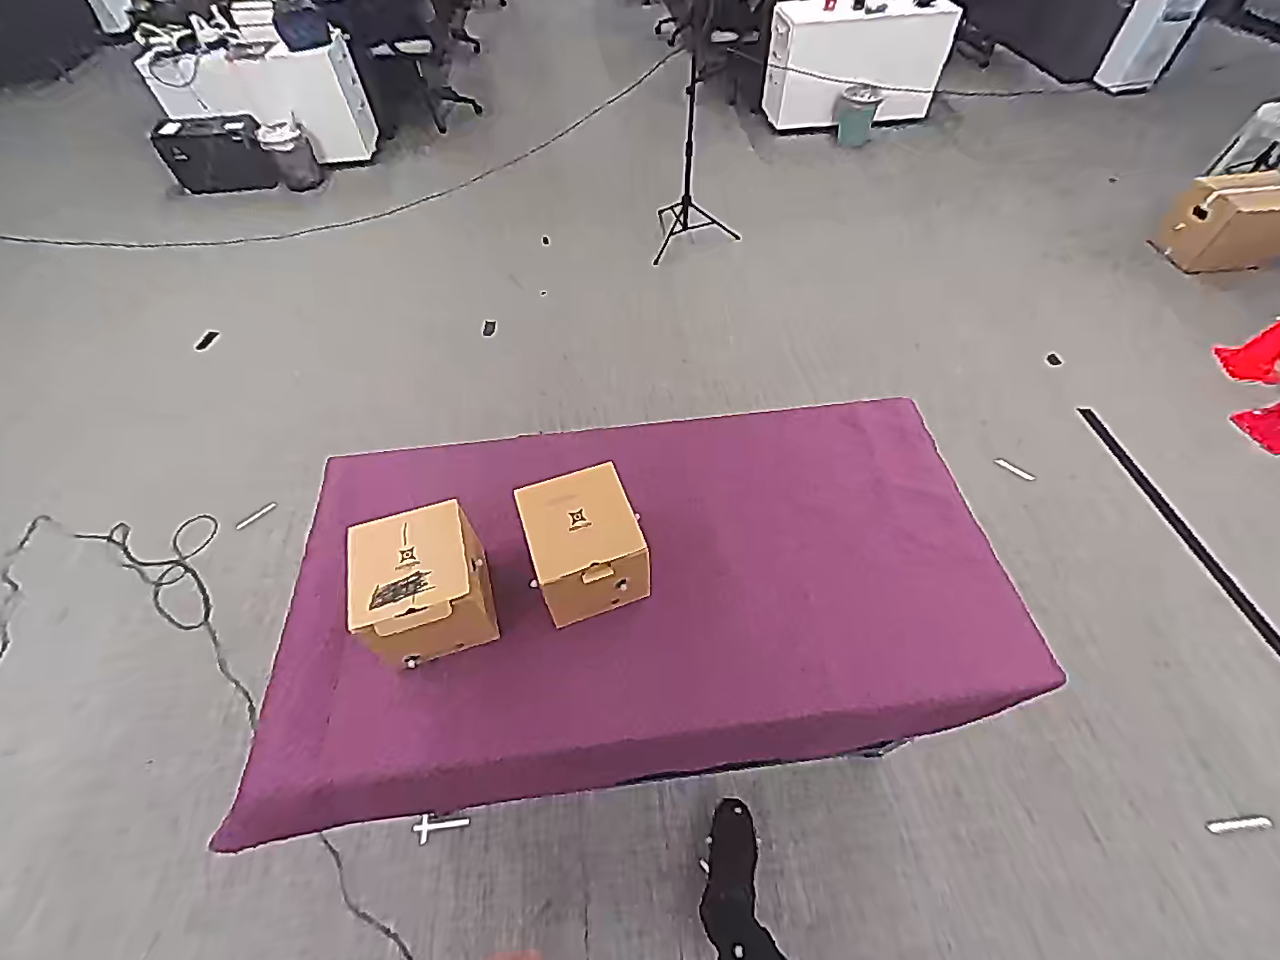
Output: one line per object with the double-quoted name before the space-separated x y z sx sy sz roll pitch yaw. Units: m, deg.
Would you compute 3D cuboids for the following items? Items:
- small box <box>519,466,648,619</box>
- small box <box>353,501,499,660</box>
"small box" -0.088 0.110 0.888 0.168 0.176 0.179 -16 55 -11
"small box" -0.330 0.166 0.851 0.168 0.176 0.179 -15 54 -10
